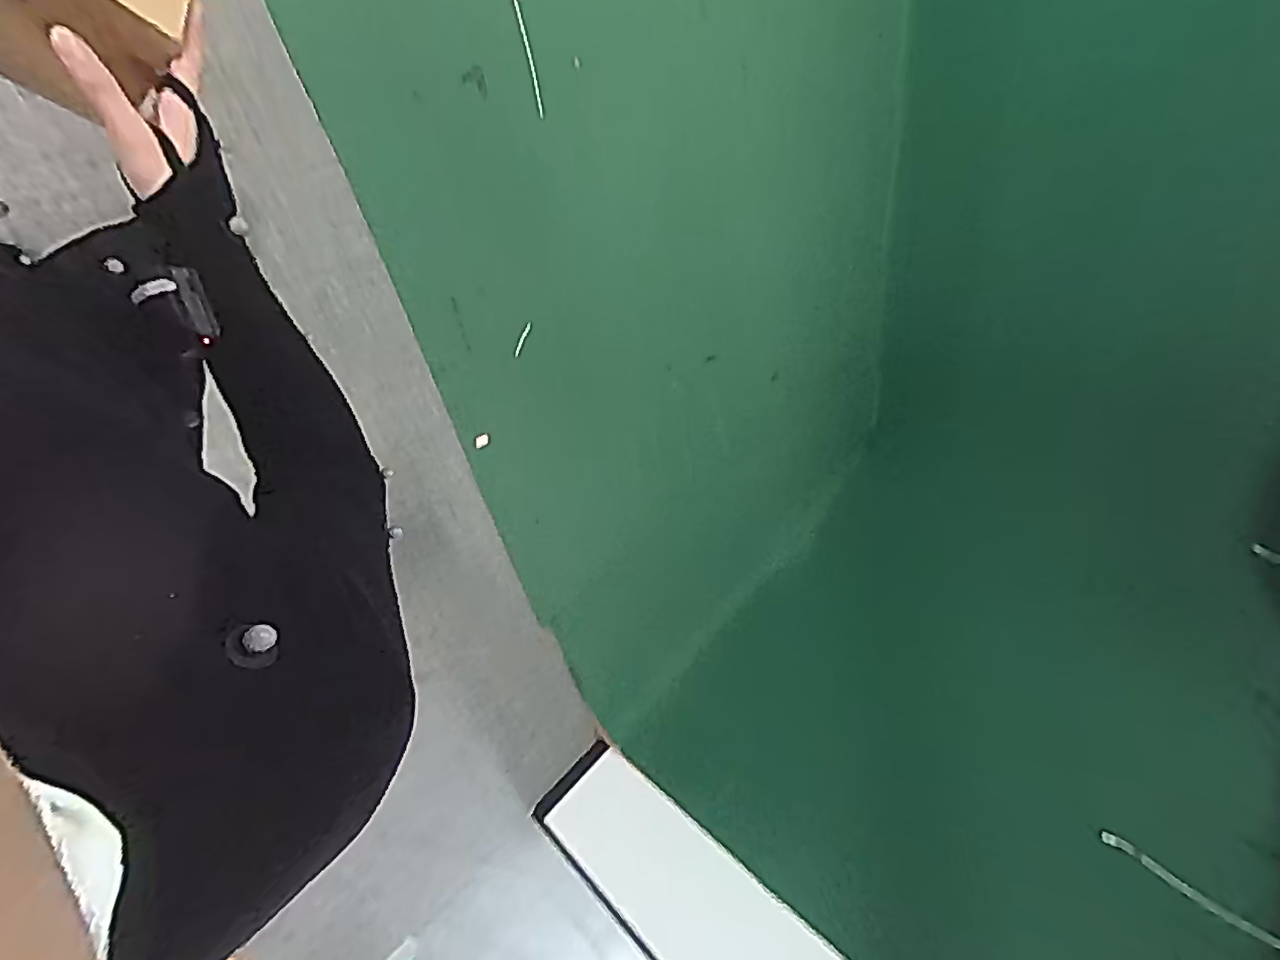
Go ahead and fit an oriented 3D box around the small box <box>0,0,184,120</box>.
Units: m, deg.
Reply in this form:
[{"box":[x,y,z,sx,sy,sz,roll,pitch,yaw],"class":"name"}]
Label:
[{"box":[-0.460,-0.416,0.394,0.179,0.176,0.168,16,73,-54],"class":"small box"}]
